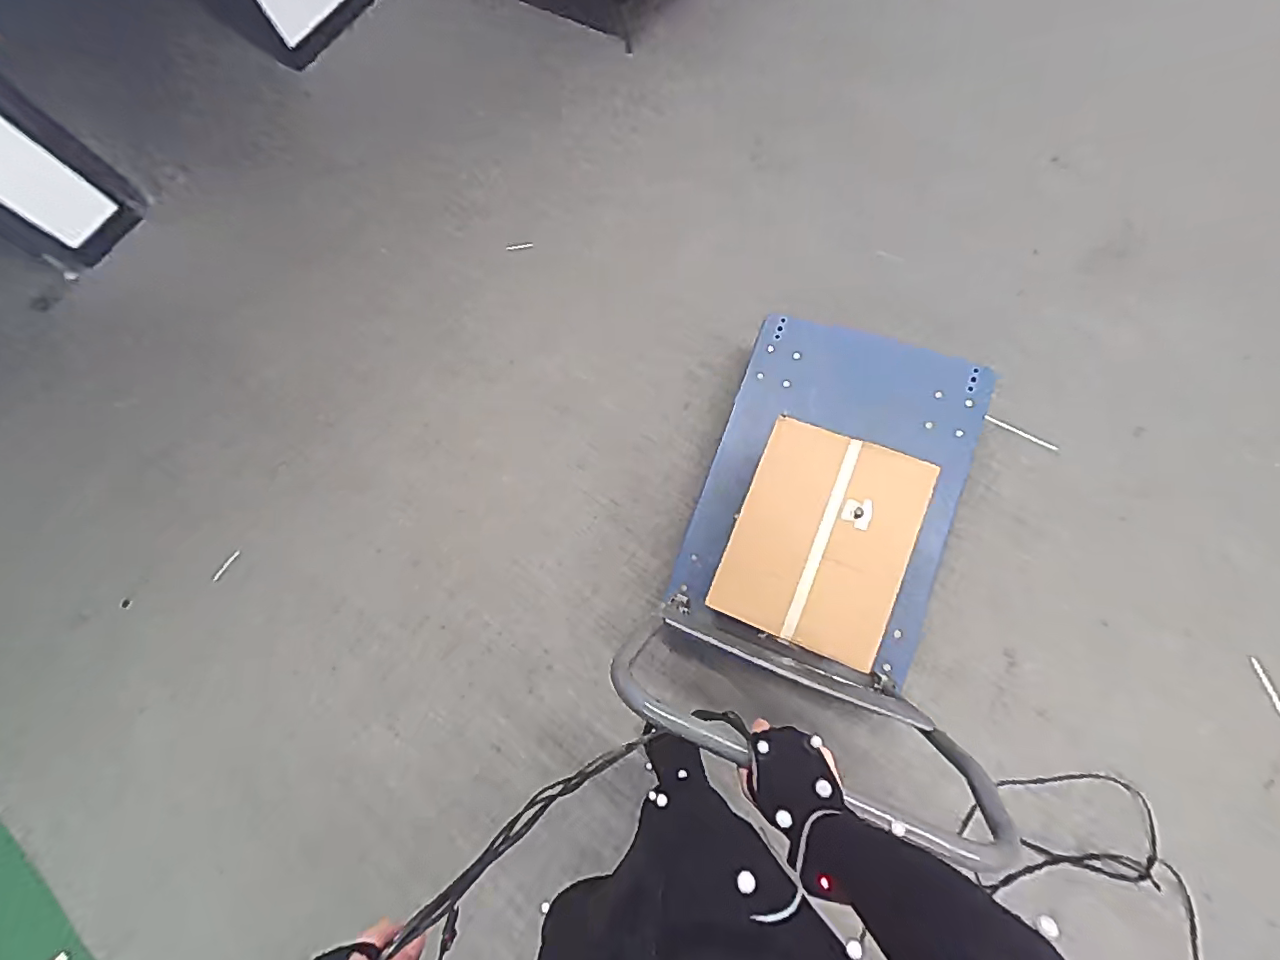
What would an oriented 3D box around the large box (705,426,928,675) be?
[{"bbox_3d":[0.360,0.156,1.171,0.320,0.320,0.408,21,81,13],"label":"large box"}]
